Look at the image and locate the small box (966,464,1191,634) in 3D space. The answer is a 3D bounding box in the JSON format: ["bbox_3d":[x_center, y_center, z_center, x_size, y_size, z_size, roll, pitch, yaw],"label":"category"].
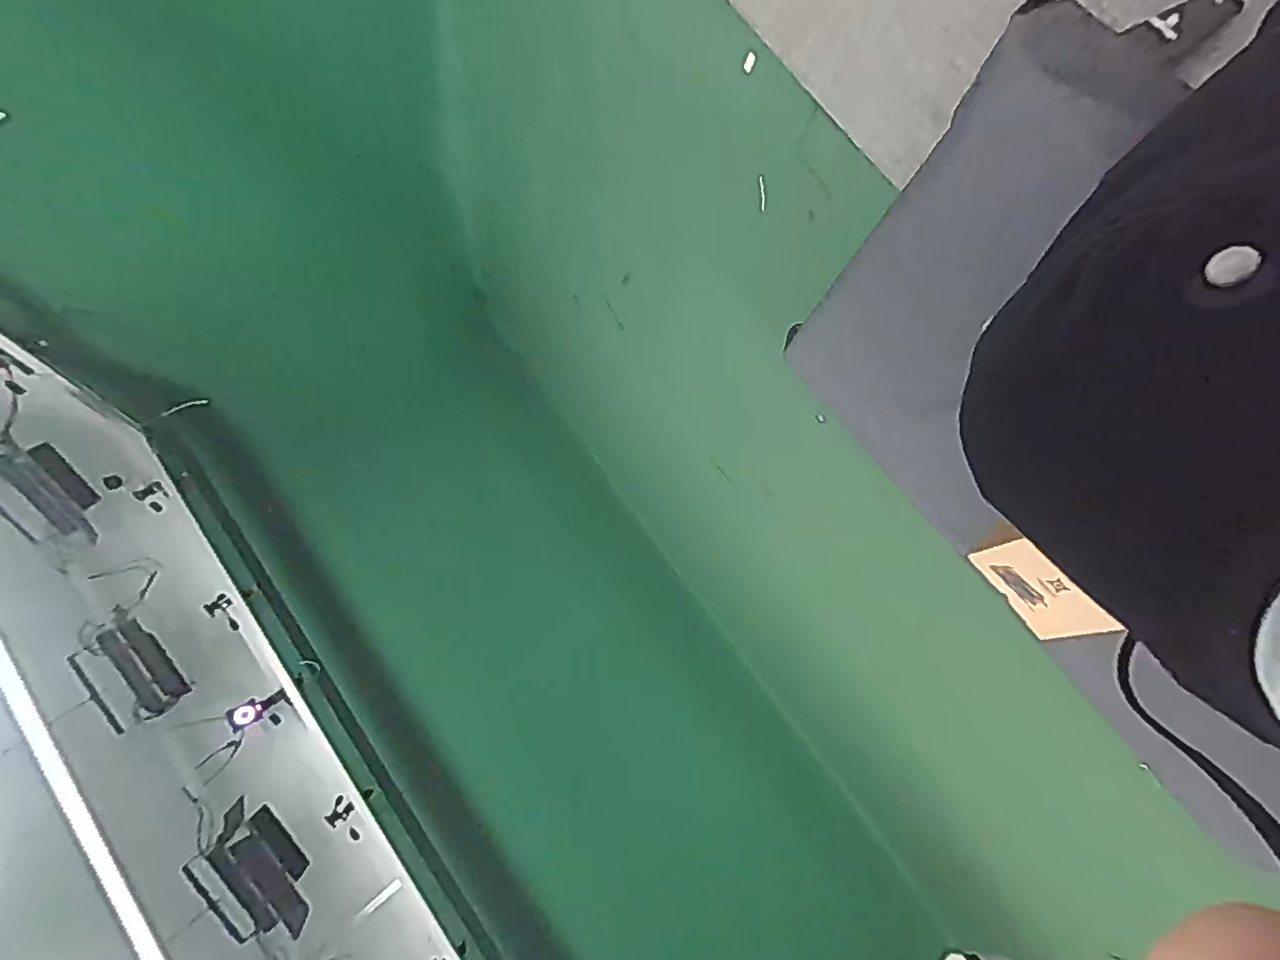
[{"bbox_3d":[0.653,0.106,0.814,0.168,0.176,0.179,51,155,9],"label":"small box"}]
